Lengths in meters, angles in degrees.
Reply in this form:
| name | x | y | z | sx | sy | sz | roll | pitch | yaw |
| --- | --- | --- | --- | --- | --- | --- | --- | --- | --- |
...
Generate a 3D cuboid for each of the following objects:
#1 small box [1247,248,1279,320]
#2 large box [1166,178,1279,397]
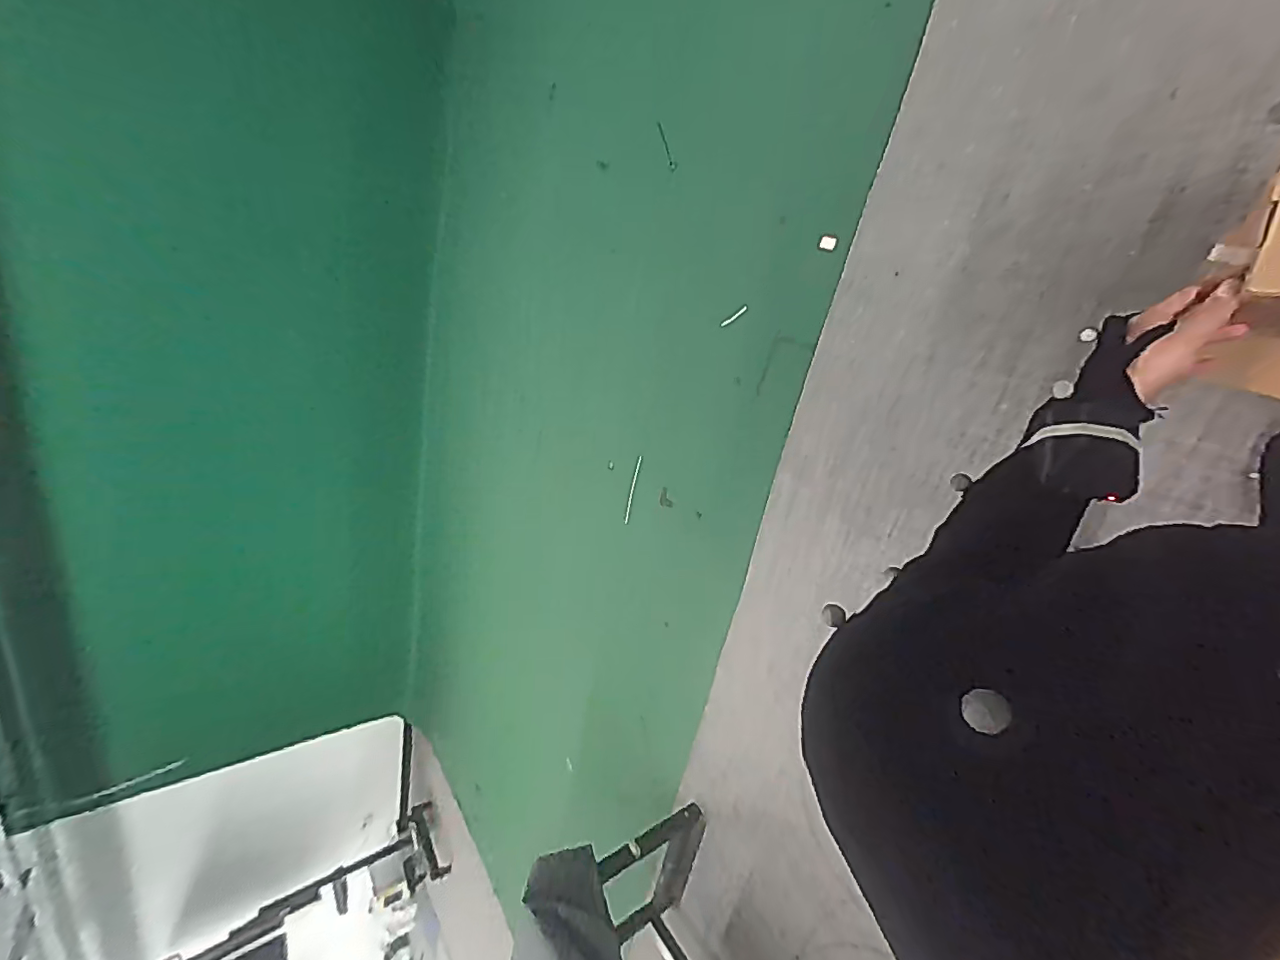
| name | x | y | z | sx | sy | sz | roll | pitch | yaw |
| --- | --- | --- | --- | --- | --- | --- | --- | --- | --- |
| small box | 0.818 | -0.235 | 0.572 | 0.179 | 0.176 | 0.168 | 46 | 127 | 37 |
| large box | 1.031 | -0.230 | 0.696 | 0.408 | 0.320 | 0.320 | 39 | 124 | 40 |
